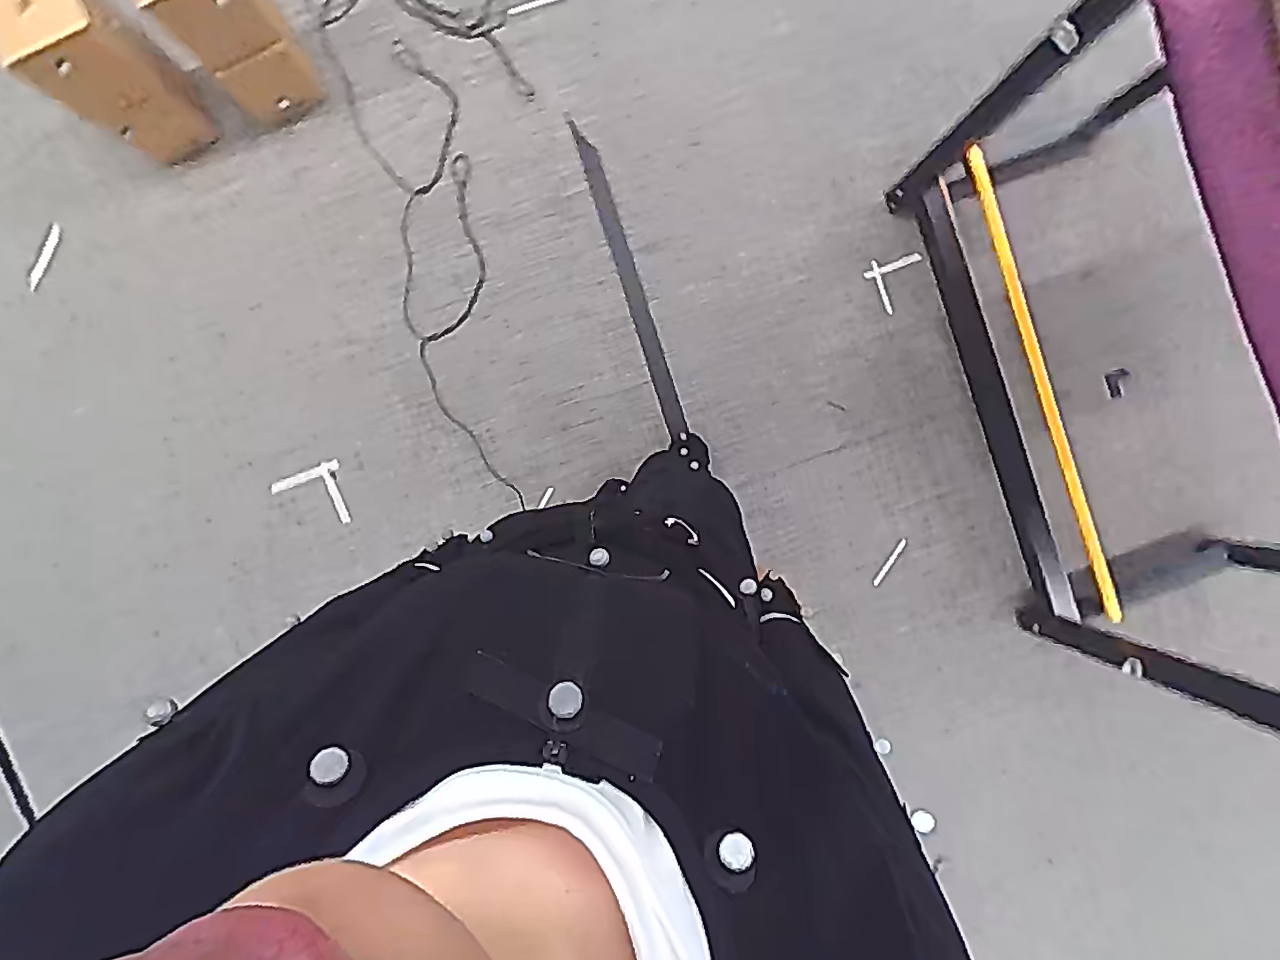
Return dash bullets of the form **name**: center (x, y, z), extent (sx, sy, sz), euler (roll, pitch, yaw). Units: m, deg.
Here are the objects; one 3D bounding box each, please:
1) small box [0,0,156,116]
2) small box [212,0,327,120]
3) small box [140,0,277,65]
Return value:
- **small box**: center (-1.088, -0.851, 1.032), extent (0.179, 0.176, 0.168), euler (-26, 93, 0)
- **small box**: center (-0.841, -0.954, 1.198), extent (0.168, 0.176, 0.179), euler (-23, 94, 0)
- **small box**: center (-0.841, -0.957, 1.033), extent (0.179, 0.176, 0.168), euler (-25, 93, 0)
